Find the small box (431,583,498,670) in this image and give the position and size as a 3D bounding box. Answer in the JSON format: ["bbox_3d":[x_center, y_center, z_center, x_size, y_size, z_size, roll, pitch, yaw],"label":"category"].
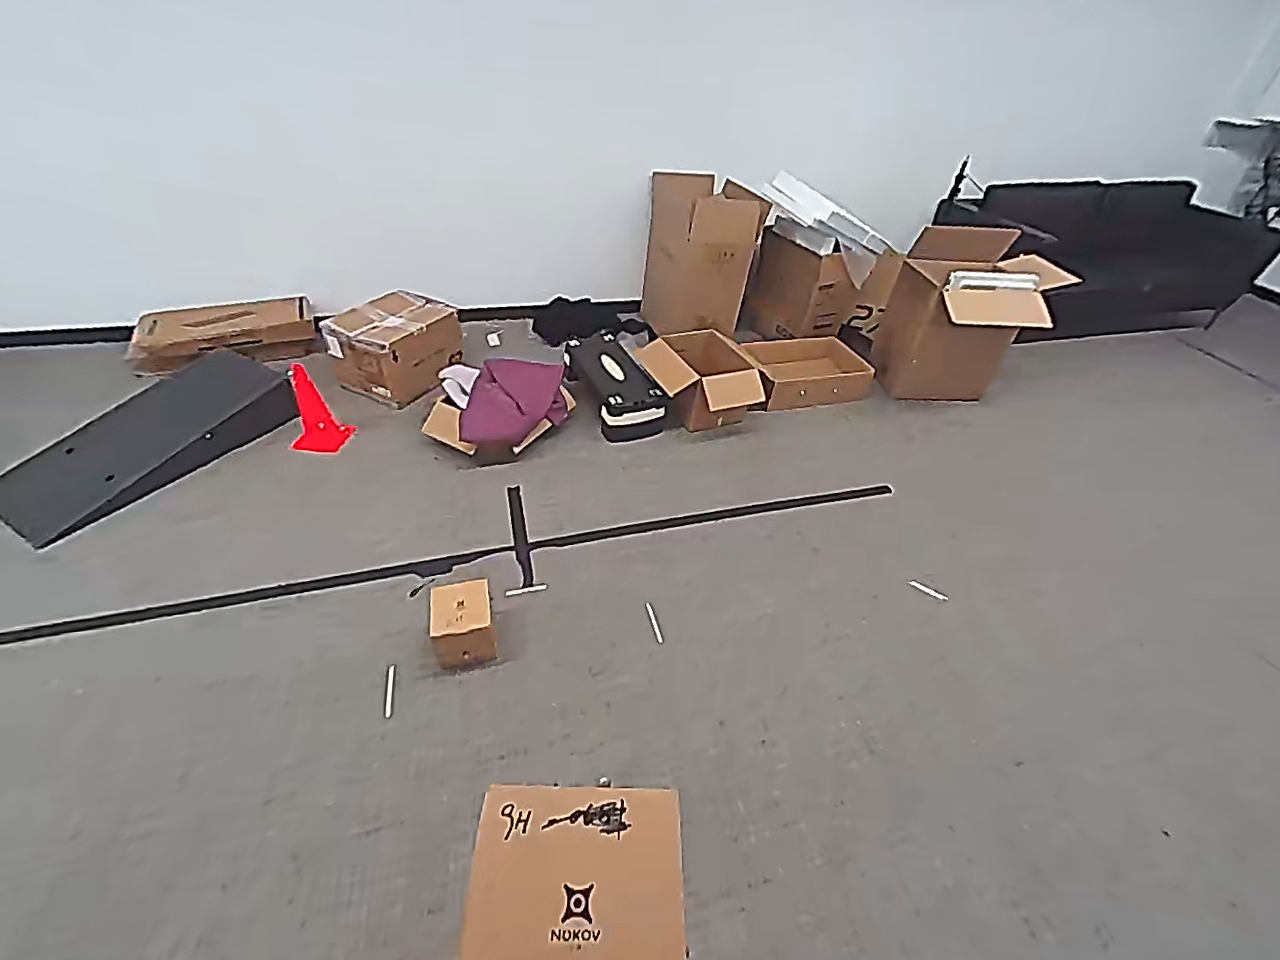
[{"bbox_3d":[-0.522,0.437,1.615,0.168,0.176,0.179,-8,42,-14],"label":"small box"}]
